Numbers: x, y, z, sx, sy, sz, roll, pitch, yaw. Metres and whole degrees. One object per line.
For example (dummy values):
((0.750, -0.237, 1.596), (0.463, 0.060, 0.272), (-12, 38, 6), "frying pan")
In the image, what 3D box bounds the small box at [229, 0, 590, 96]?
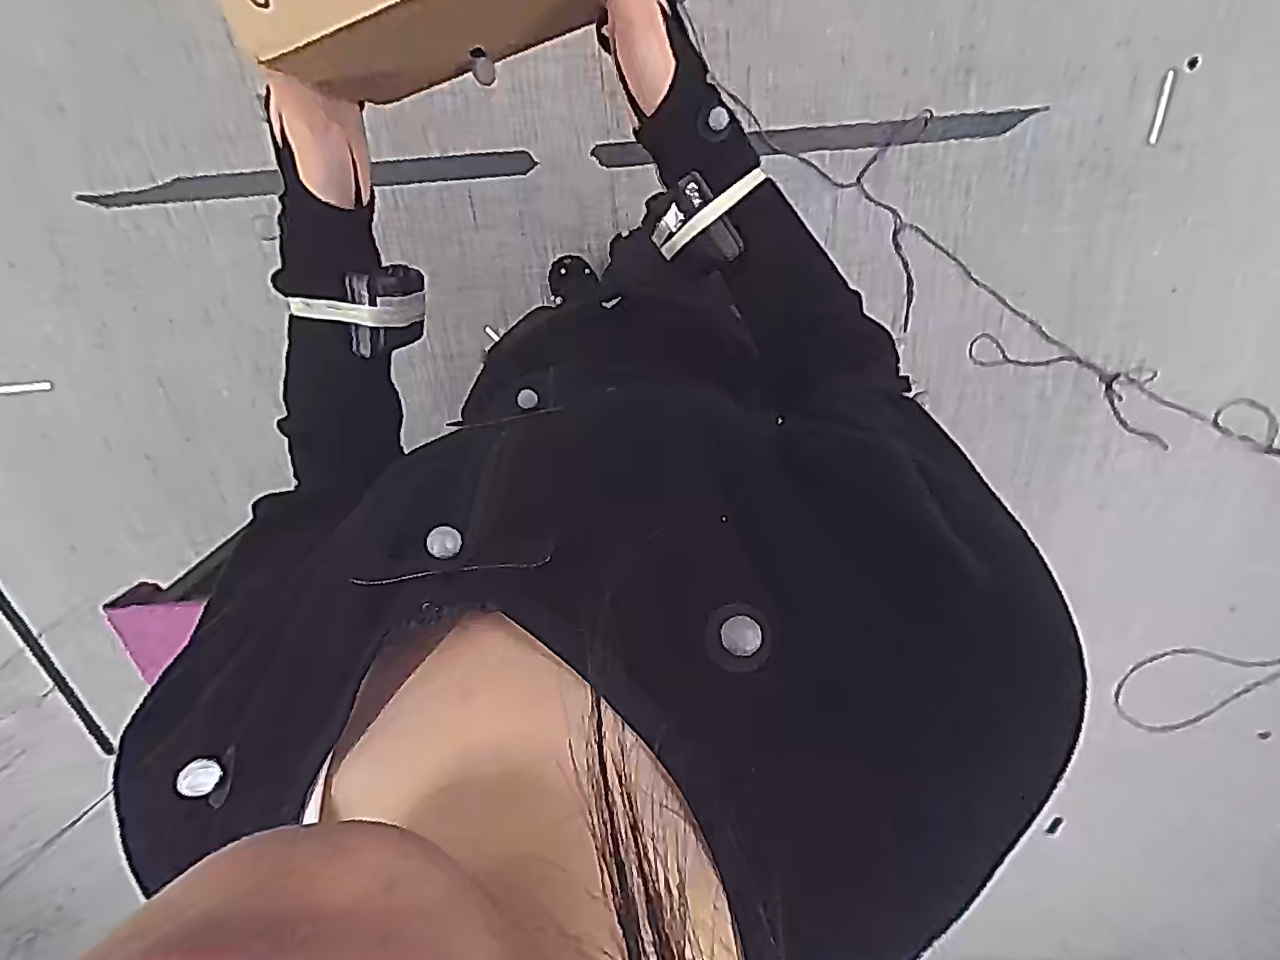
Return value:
((-0.127, -0.331, 0.283), (0.179, 0.176, 0.168), (-16, 118, 5), "small box")
